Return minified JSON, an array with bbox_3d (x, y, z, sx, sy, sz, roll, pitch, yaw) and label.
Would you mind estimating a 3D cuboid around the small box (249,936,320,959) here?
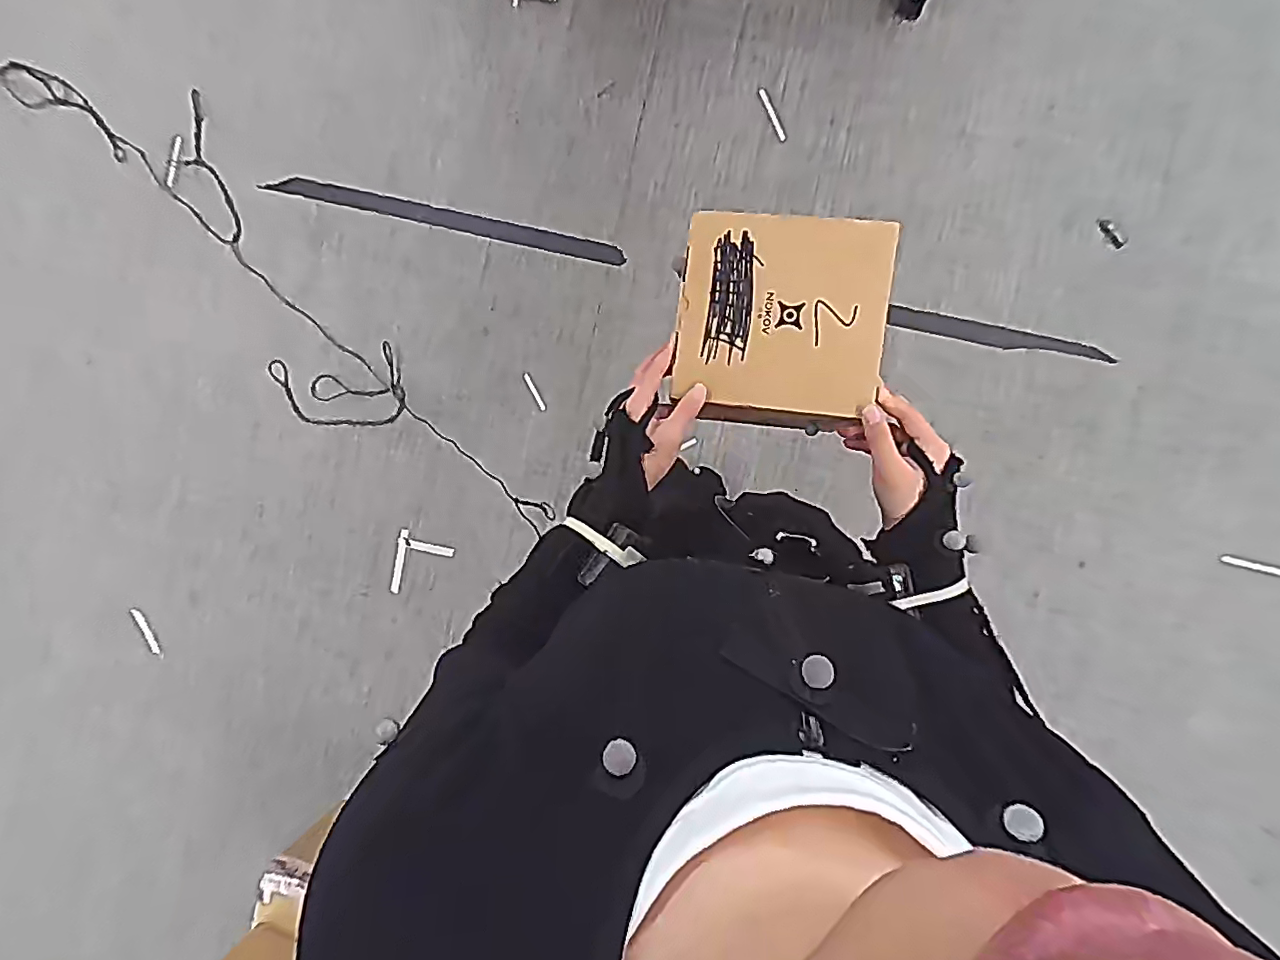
[{"bbox_3d":[-0.621,0.918,0.891,0.179,0.176,0.168,19,91,9],"label":"small box"}]
